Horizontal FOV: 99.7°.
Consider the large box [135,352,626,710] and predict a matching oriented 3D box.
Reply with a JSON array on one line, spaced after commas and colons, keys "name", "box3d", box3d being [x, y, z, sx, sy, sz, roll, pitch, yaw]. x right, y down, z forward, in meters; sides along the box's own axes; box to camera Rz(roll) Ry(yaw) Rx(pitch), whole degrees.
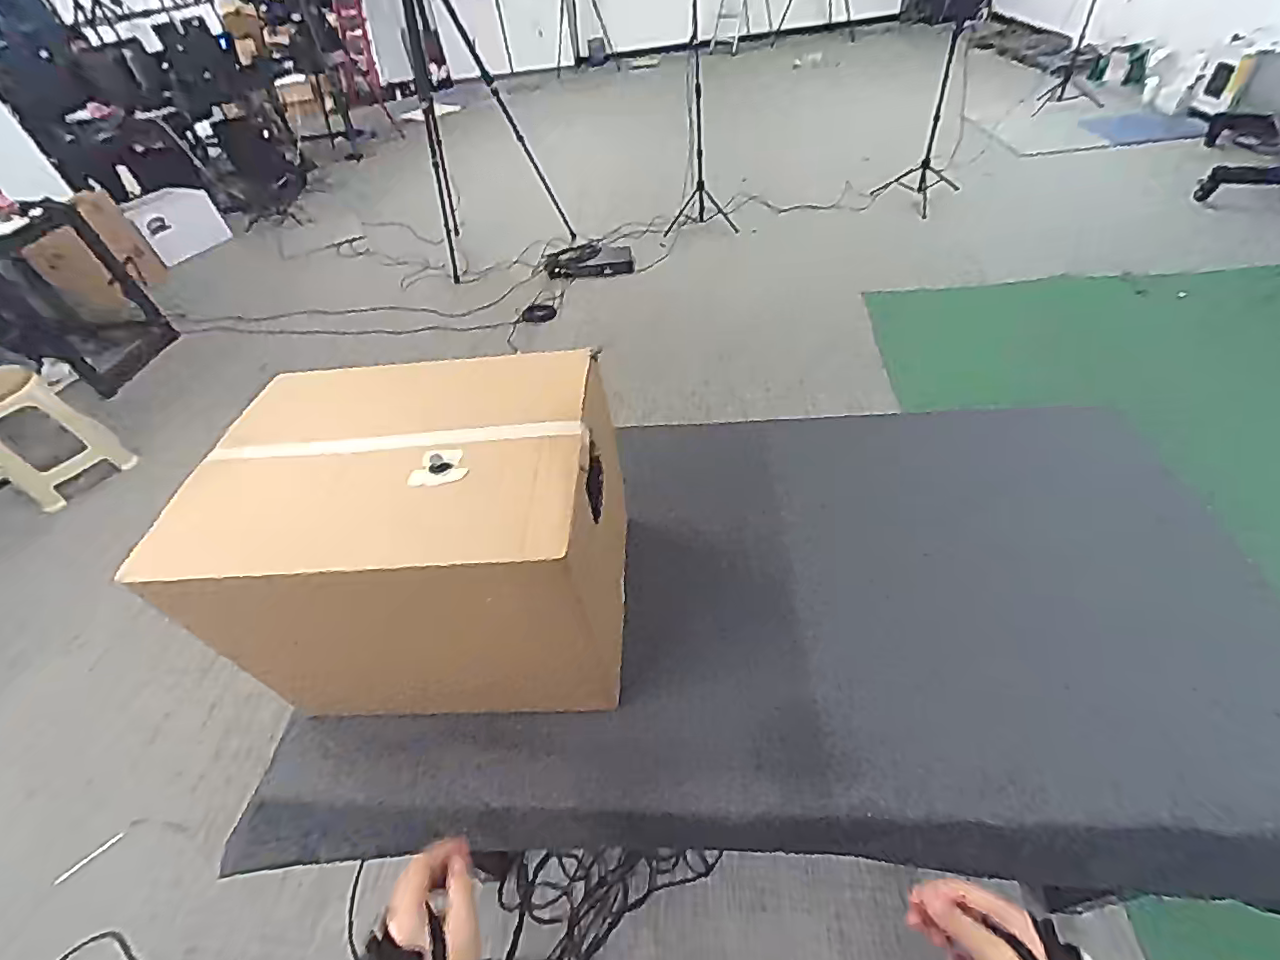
[{"name": "large box", "box3d": [-0.234, 0.067, 0.668, 0.408, 0.320, 0.320, -3, 46, 4]}]
